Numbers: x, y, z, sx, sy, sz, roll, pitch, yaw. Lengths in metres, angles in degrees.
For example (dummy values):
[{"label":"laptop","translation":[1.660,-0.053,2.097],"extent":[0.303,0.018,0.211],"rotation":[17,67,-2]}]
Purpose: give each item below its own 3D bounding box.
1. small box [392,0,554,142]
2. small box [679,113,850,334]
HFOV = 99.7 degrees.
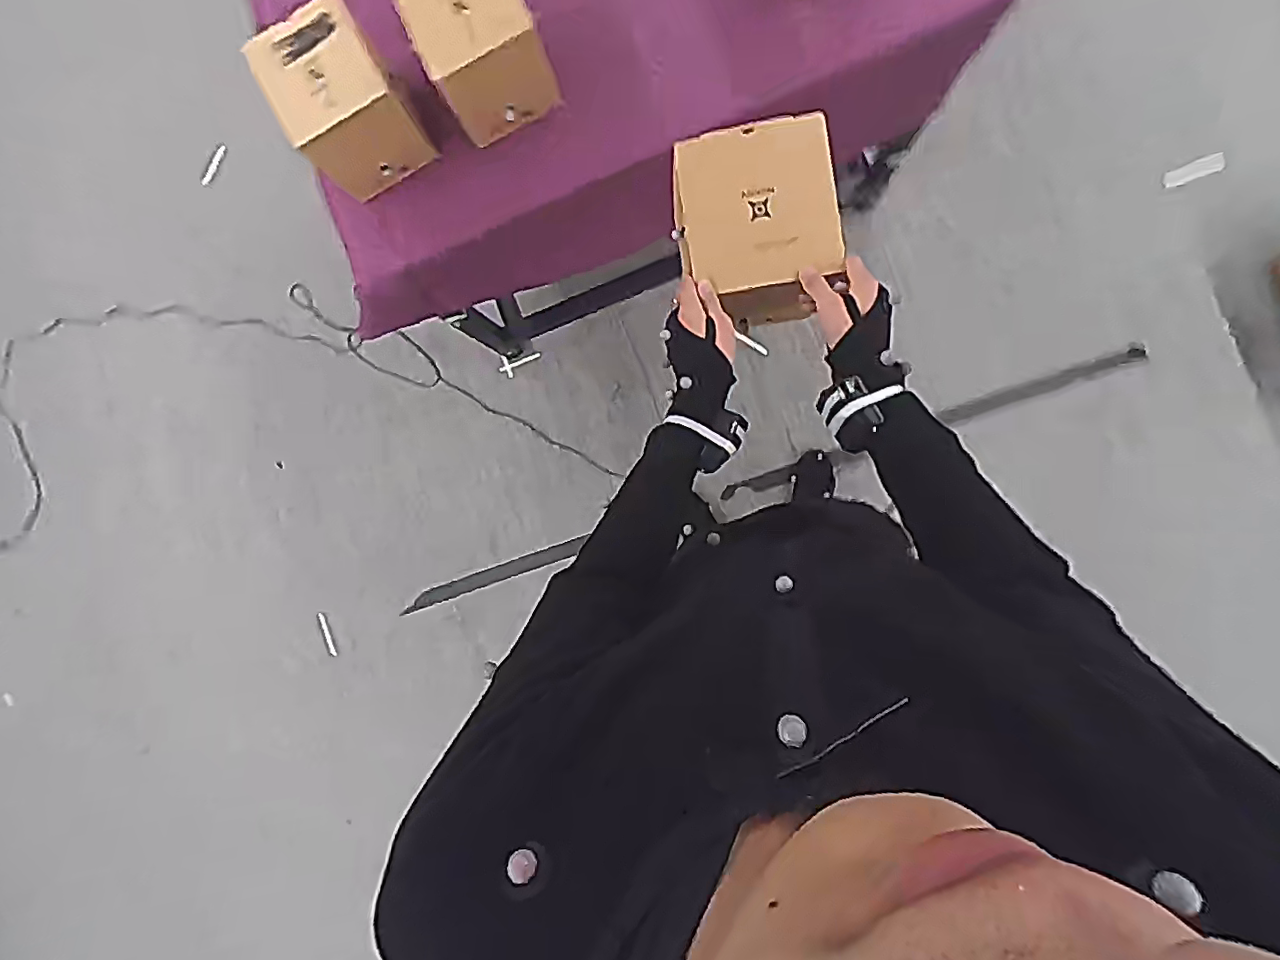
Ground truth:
[{"label":"small box","translation":[-0.257,-0.684,0.845],"extent":[0.168,0.176,0.179],"rotation":[-25,89,7]},{"label":"small box","translation":[0.138,-0.295,0.658],"extent":[0.168,0.176,0.179],"rotation":[-7,89,5]}]
